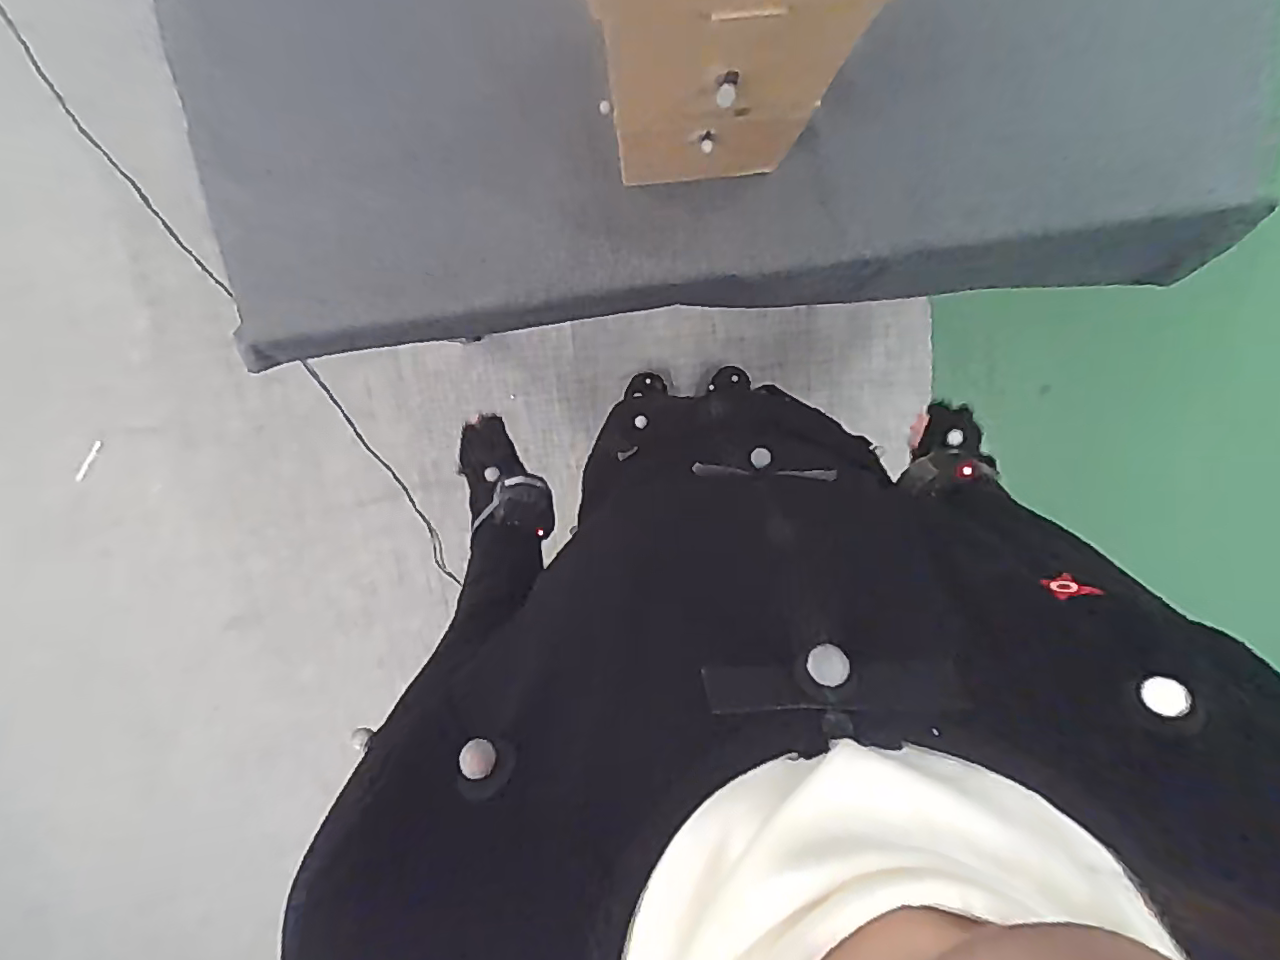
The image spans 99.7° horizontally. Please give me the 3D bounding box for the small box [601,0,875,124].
[{"bbox_3d":[0.055,-0.374,0.376,0.168,0.176,0.179,-5,103,2],"label":"small box"}]

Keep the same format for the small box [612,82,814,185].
[{"bbox_3d":[0.060,-0.411,0.535,0.179,0.176,0.168,-5,102,1],"label":"small box"}]
